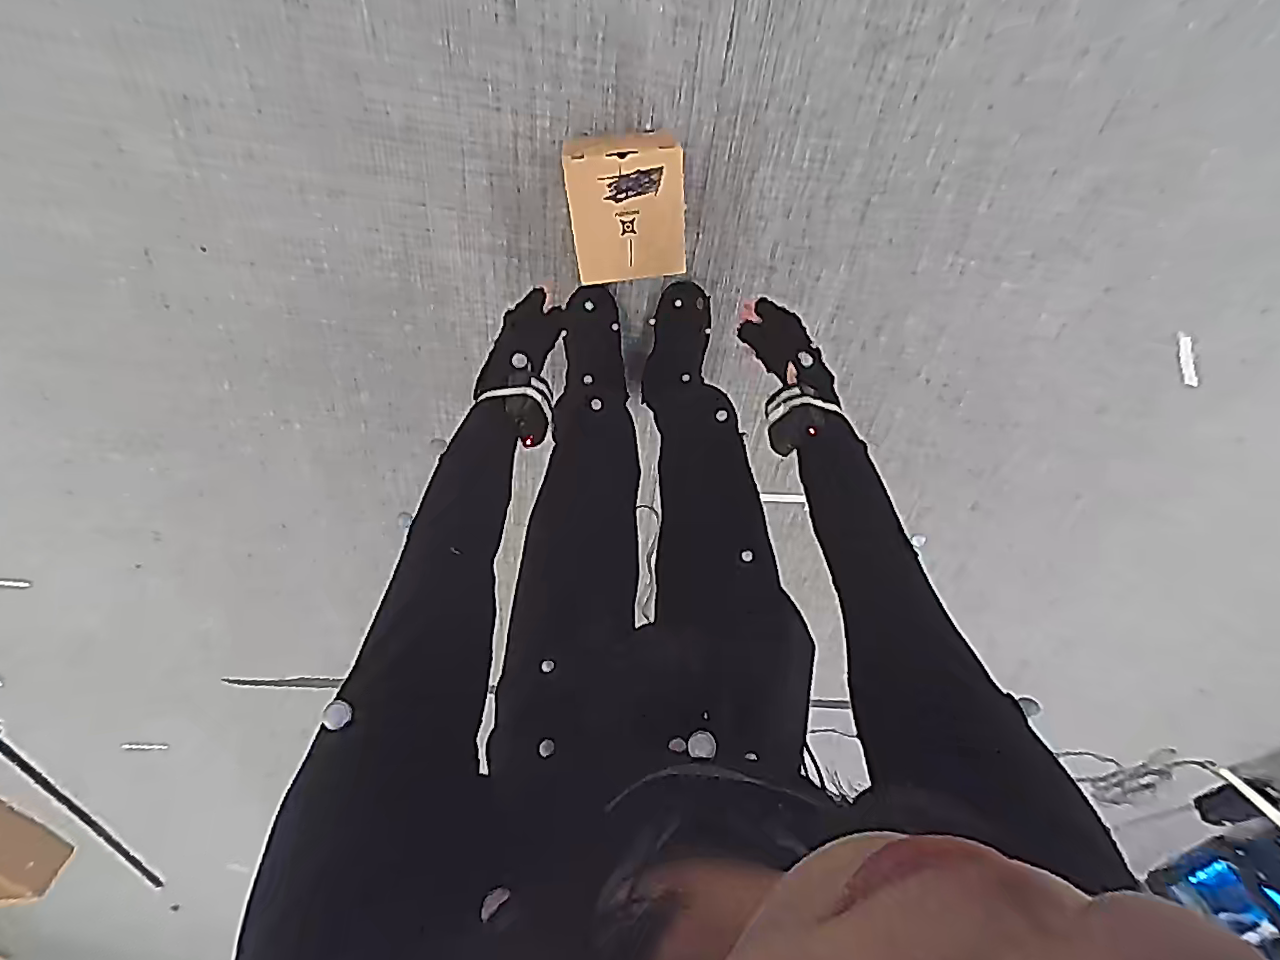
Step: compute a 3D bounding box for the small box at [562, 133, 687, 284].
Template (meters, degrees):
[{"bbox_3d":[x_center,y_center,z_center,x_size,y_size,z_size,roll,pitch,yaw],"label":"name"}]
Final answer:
[{"bbox_3d":[-0.024,-0.426,0.839,0.168,0.176,0.179,-8,128,1],"label":"small box"}]
